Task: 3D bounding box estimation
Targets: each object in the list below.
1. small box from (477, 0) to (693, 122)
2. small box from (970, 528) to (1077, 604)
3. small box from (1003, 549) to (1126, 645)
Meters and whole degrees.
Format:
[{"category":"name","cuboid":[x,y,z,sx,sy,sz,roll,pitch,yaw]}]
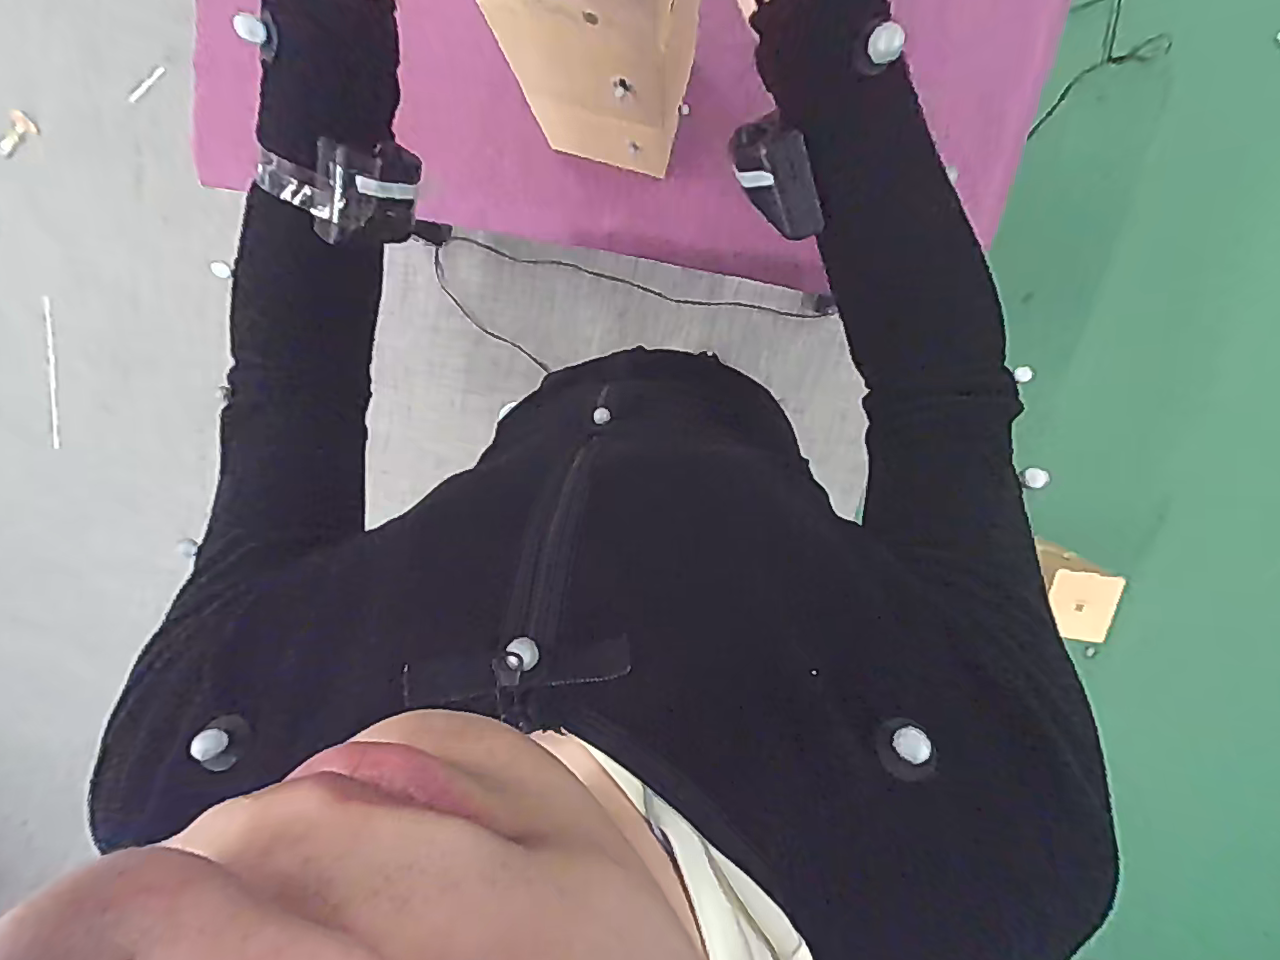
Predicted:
[{"category":"small box","cuboid":[-0.039,-0.499,0.548,0.179,0.176,0.168,15,102,0]},{"category":"small box","cuboid":[1.086,0.255,1.549,0.168,0.176,0.179,12,102,1]},{"category":"small box","cuboid":[1.077,0.295,1.392,0.168,0.176,0.179,9,102,2]}]
